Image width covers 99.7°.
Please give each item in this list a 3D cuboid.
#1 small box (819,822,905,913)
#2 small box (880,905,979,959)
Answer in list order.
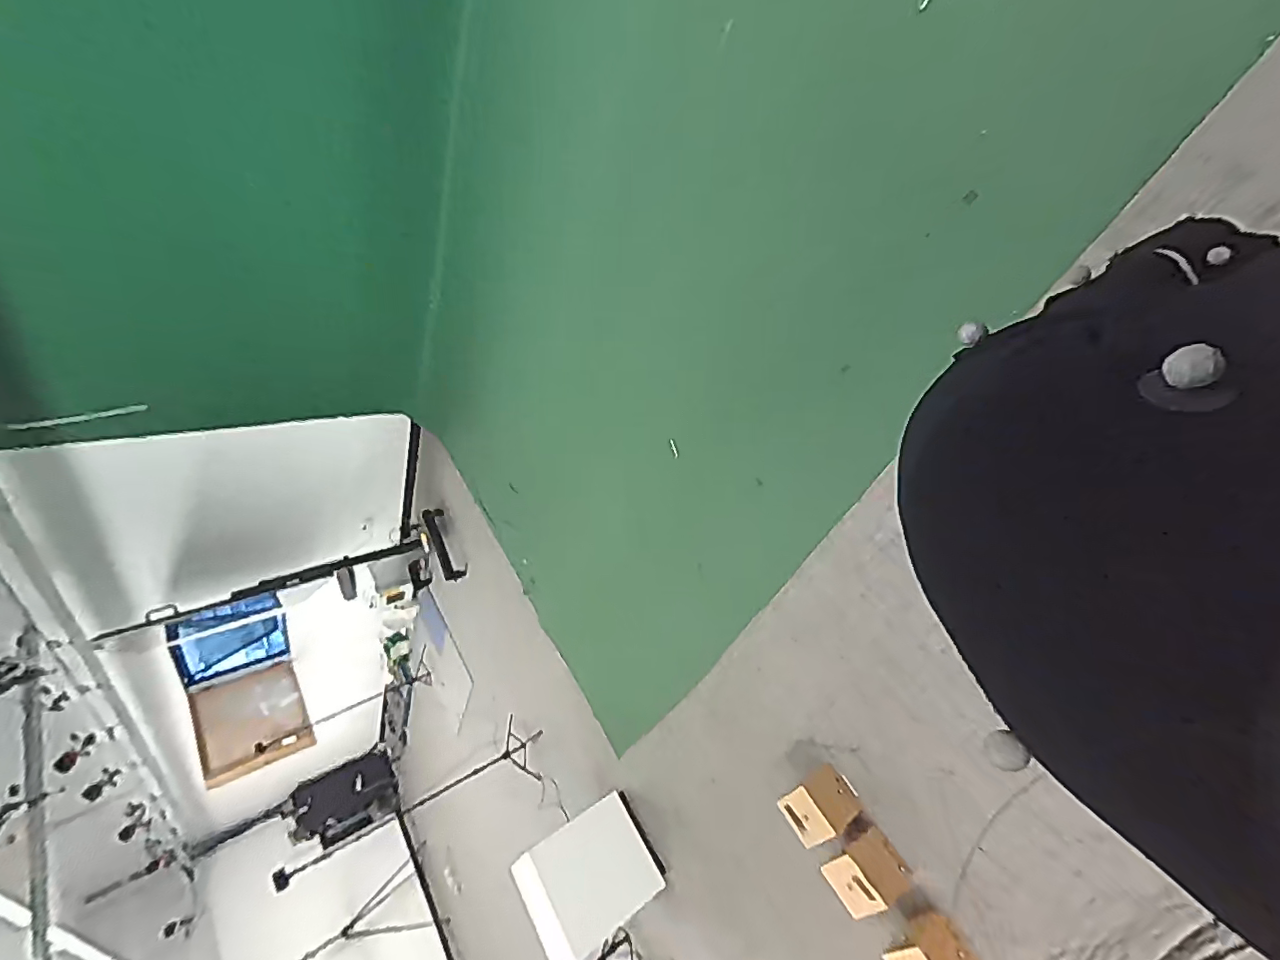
[{"bbox_3d":[0.729,1.256,1.761,0.168,0.176,0.179,51,136,28],"label":"small box"},{"bbox_3d":[0.877,1.437,1.635,0.168,0.176,0.179,52,135,28],"label":"small box"}]
